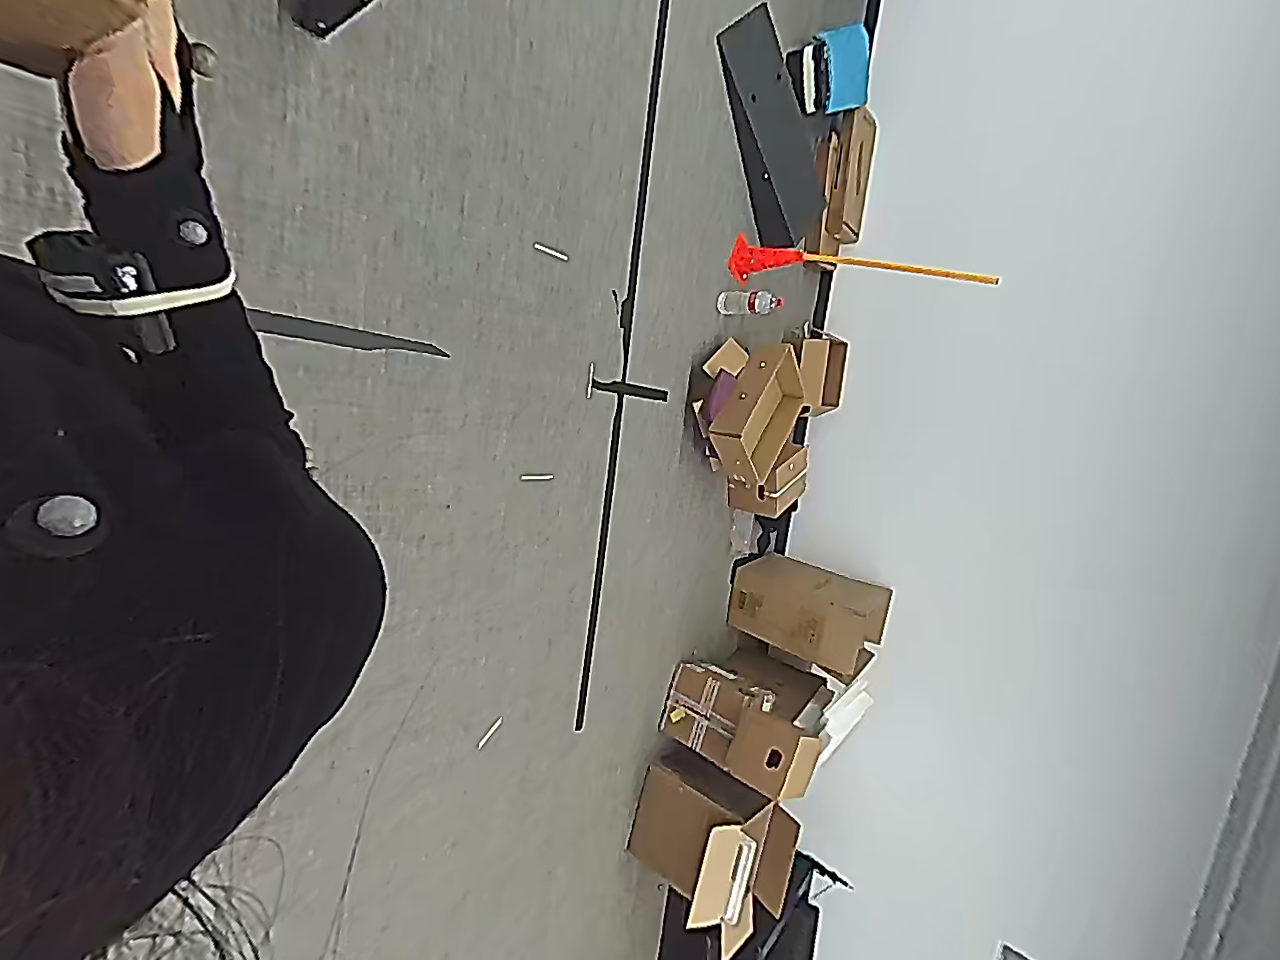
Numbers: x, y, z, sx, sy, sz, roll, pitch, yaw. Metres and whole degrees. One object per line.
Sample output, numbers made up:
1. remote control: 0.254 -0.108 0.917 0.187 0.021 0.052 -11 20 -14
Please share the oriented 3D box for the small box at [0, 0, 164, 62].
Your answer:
1. small box: -0.268 -0.257 0.150 0.168 0.176 0.179 -13 117 -55
